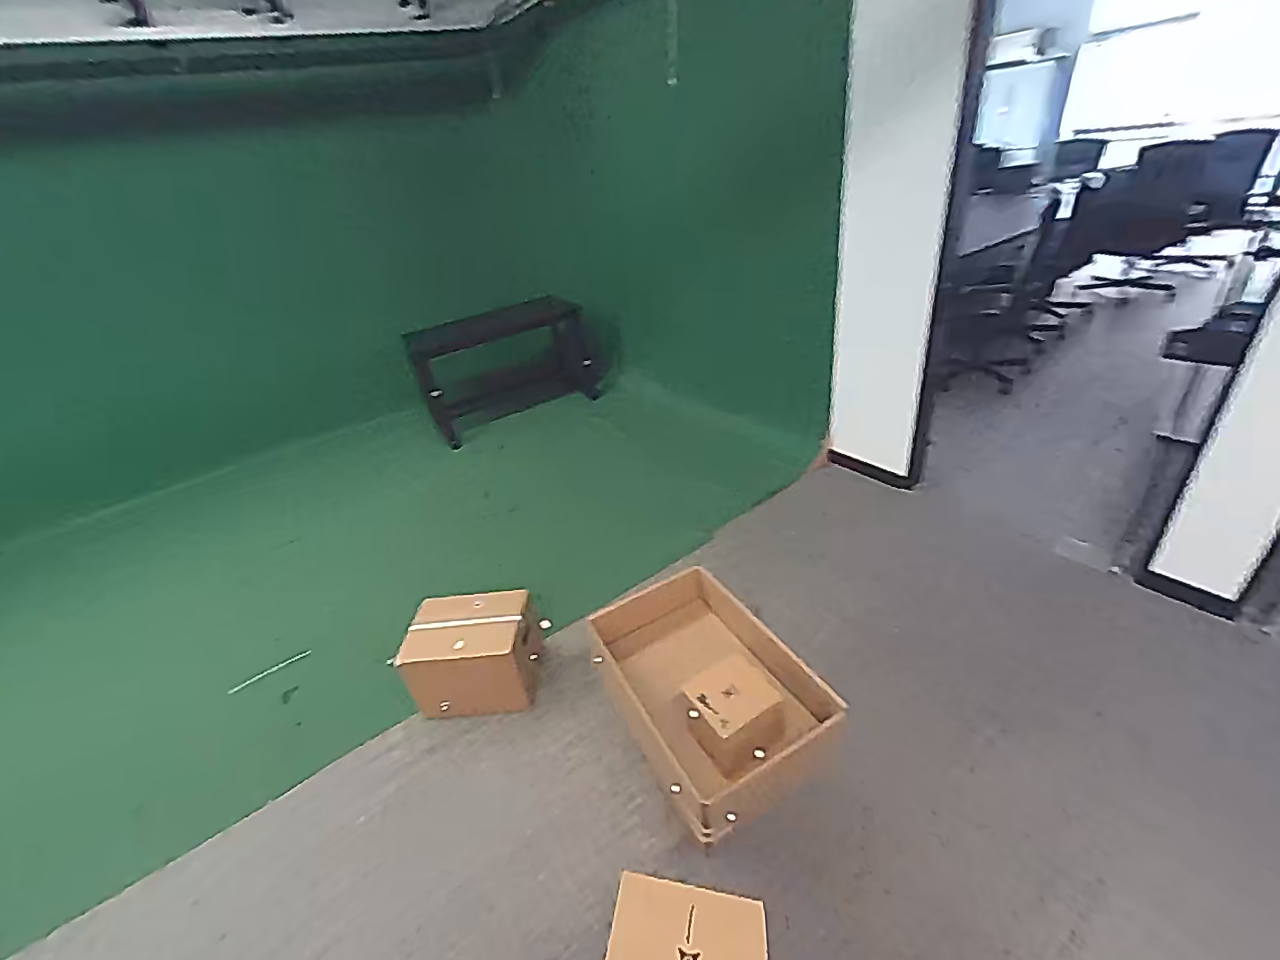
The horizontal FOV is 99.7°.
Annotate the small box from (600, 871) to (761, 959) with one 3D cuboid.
[{"bbox_3d":[0.034,0.567,0.564,0.168,0.176,0.179,8,17,7],"label":"small box"}]
